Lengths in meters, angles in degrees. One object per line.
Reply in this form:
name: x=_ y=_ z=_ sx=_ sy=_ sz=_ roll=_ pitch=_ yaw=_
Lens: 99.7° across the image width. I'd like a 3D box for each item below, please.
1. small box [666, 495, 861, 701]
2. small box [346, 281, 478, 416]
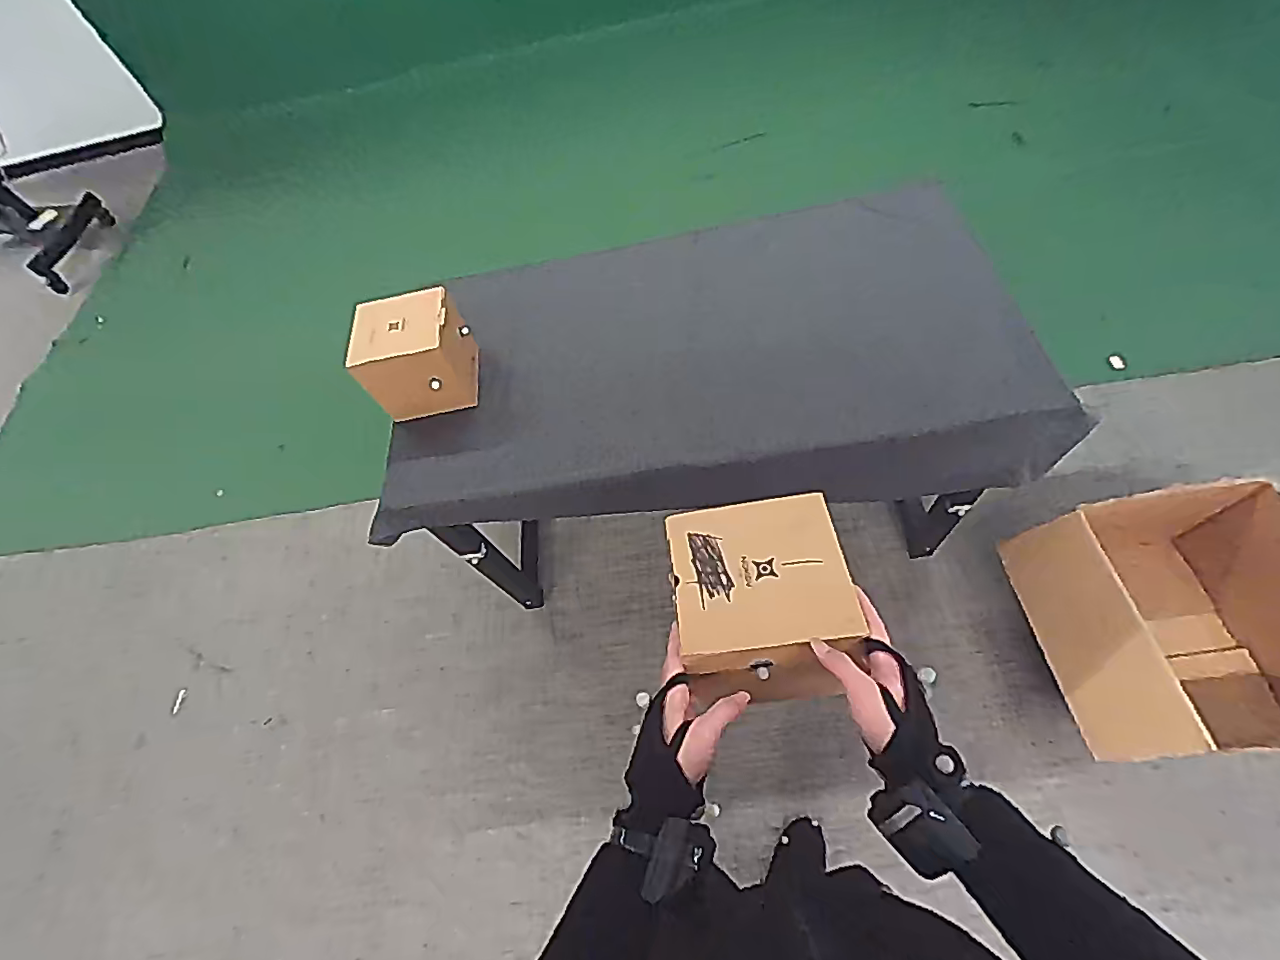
small box: x=0.130 y=0.139 z=0.604 sx=0.179 sy=0.176 sz=0.168 roll=-7 pitch=52 yaw=9
small box: x=-0.426 y=-0.247 z=1.042 sx=0.179 sy=0.176 sz=0.168 roll=-12 pitch=58 yaw=4
